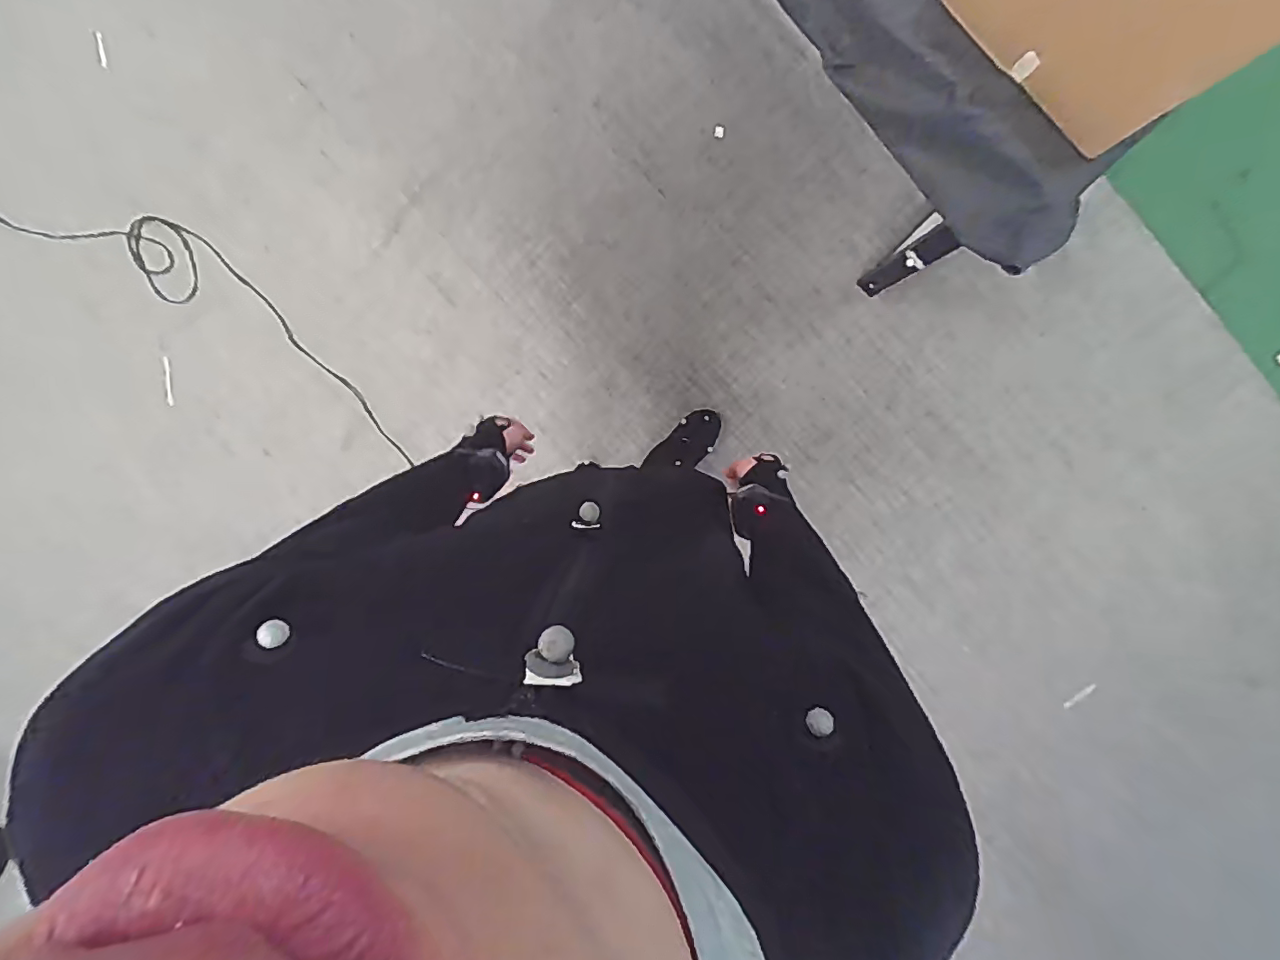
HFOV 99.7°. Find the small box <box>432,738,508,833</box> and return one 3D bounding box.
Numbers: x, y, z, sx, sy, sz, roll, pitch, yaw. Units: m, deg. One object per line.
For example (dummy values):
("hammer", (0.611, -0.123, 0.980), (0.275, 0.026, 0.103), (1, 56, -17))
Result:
("small box", (-0.511, 0.922, 1.647), (0.168, 0.176, 0.179), (11, 101, 3))
